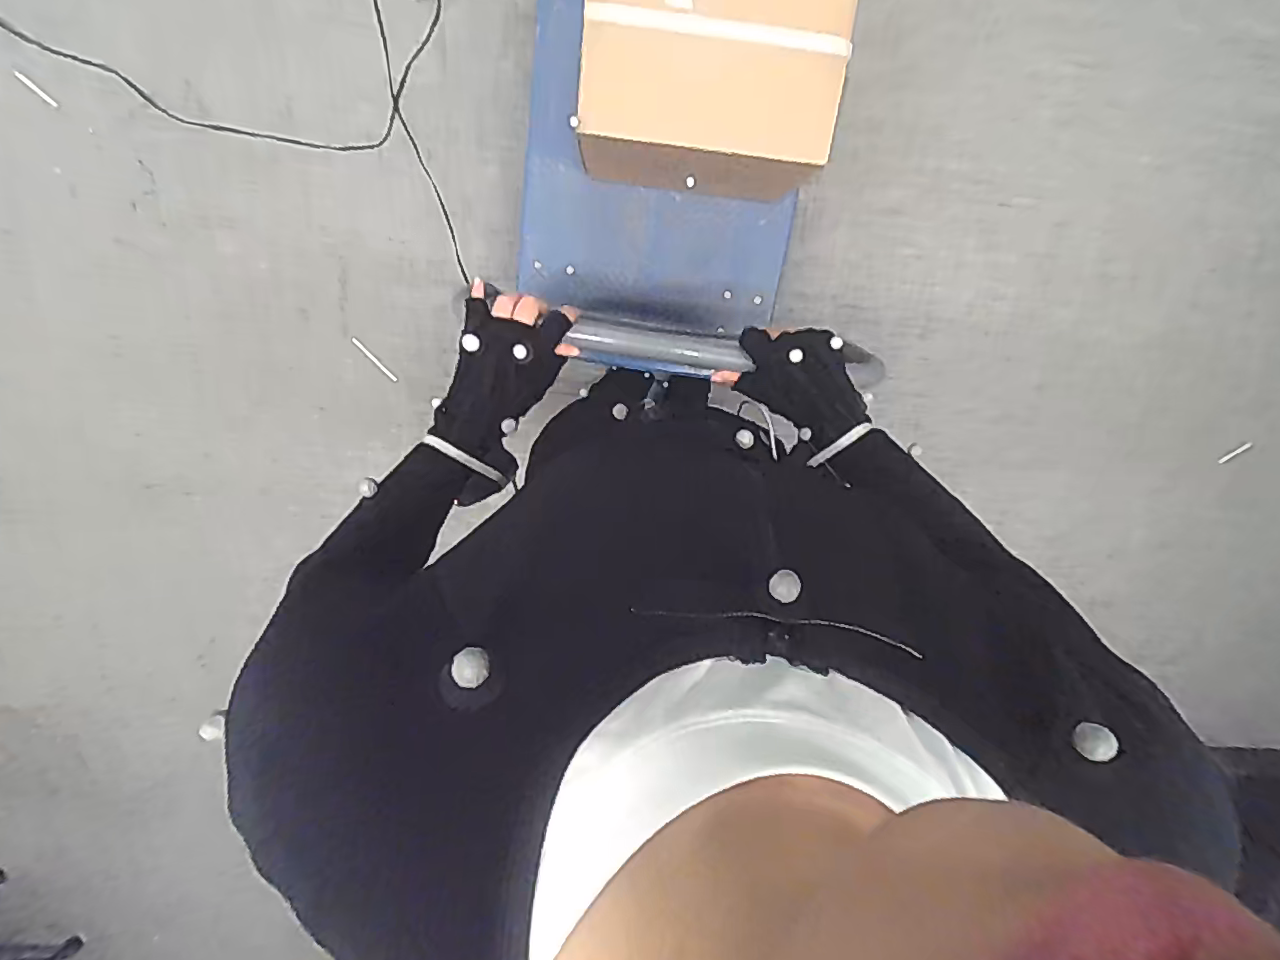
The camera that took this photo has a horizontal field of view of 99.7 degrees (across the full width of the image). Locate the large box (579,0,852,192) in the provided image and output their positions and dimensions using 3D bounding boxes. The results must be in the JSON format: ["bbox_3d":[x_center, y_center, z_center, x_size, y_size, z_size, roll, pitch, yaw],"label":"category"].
[{"bbox_3d":[0.113,-0.724,0.957,0.408,0.320,0.320,5,106,-3],"label":"large box"}]
